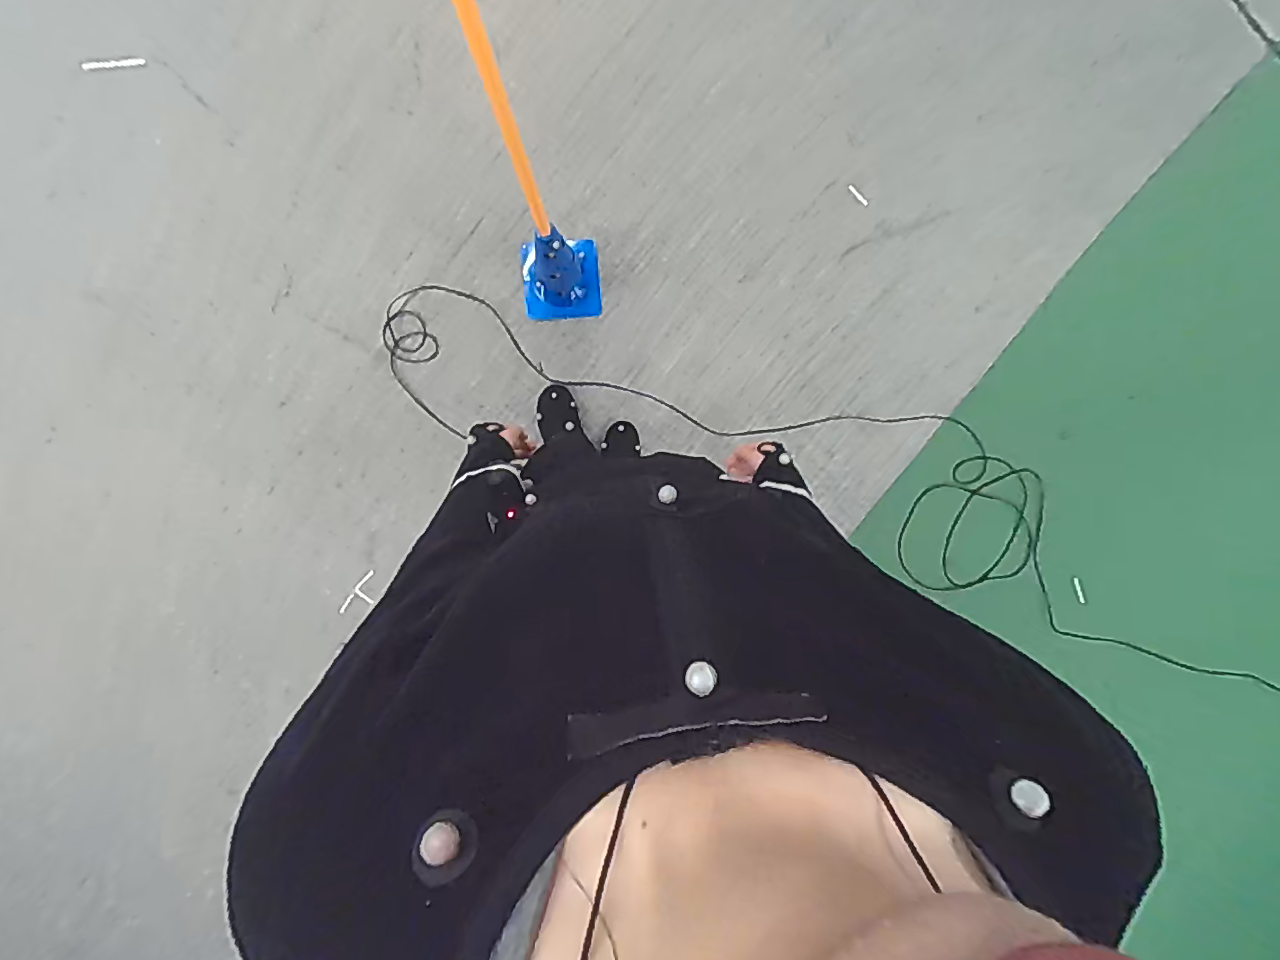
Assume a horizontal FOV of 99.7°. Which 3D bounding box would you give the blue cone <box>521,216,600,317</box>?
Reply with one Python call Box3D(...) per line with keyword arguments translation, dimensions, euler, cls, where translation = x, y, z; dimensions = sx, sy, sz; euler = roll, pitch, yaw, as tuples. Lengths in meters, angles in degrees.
Box3D(translation=(-0.199, -0.512, 1.243), dimensions=(0.192, 0.380, 0.193), euler=(-6, 94, -3), cls="blue cone")
